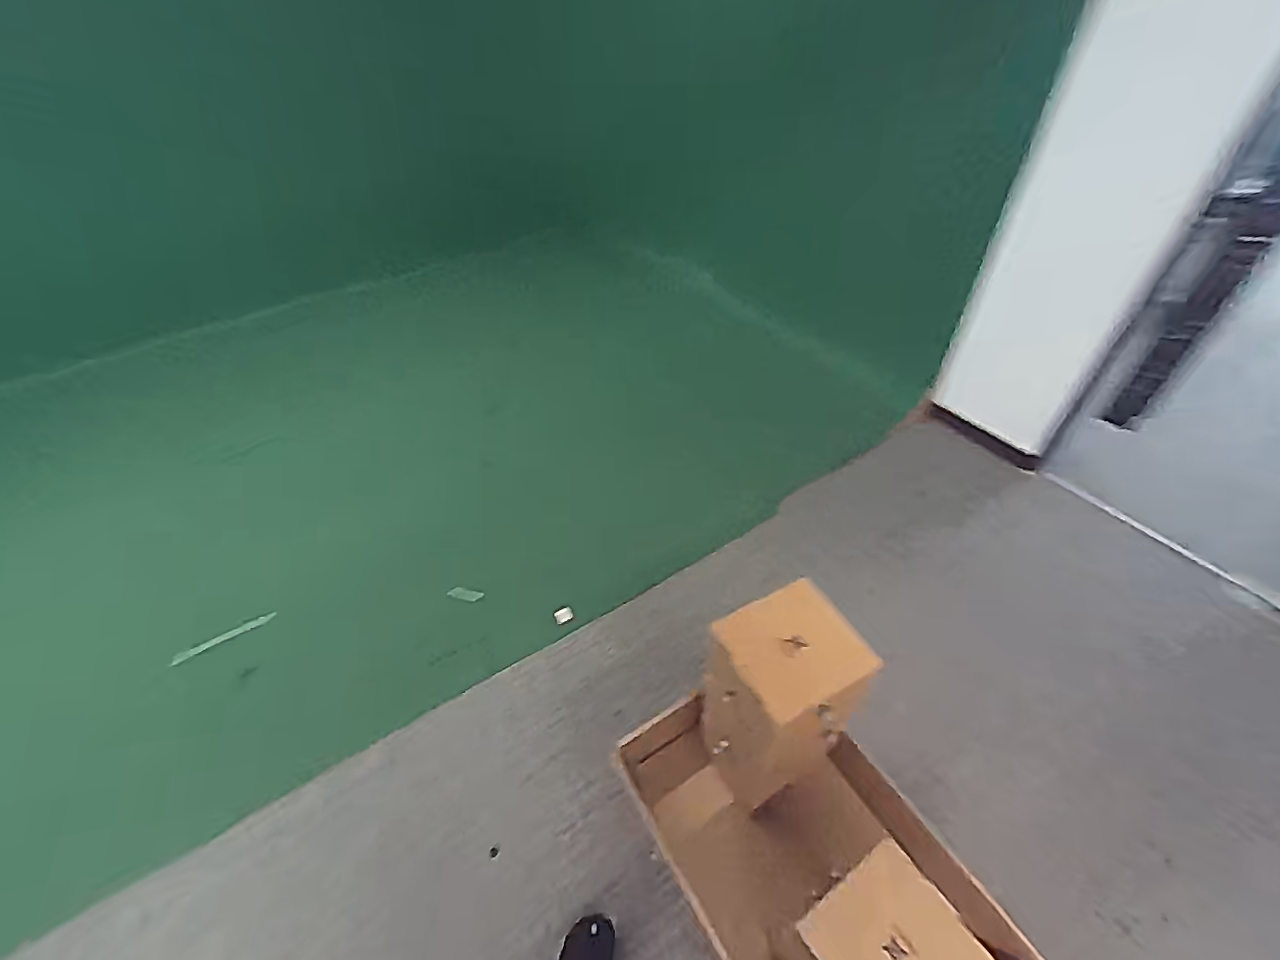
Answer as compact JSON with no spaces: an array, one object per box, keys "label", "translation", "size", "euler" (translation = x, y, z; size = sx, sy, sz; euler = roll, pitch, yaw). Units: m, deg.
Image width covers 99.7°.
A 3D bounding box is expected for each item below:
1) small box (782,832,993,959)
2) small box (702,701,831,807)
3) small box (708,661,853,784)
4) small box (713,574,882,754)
[{"label":"small box","translation":[0.312,0.615,0.718],"size":[0.179,0.176,0.168],"euler":[-26,50,-19]},{"label":"small box","translation":[0.236,0.501,1.060],"size":[0.179,0.176,0.168],"euler":[-23,49,-18]},{"label":"small box","translation":[0.230,0.389,0.940],"size":[0.179,0.176,0.168],"euler":[-22,48,-16]},{"label":"small box","translation":[0.224,0.279,0.821],"size":[0.179,0.176,0.168],"euler":[-22,49,-15]}]
